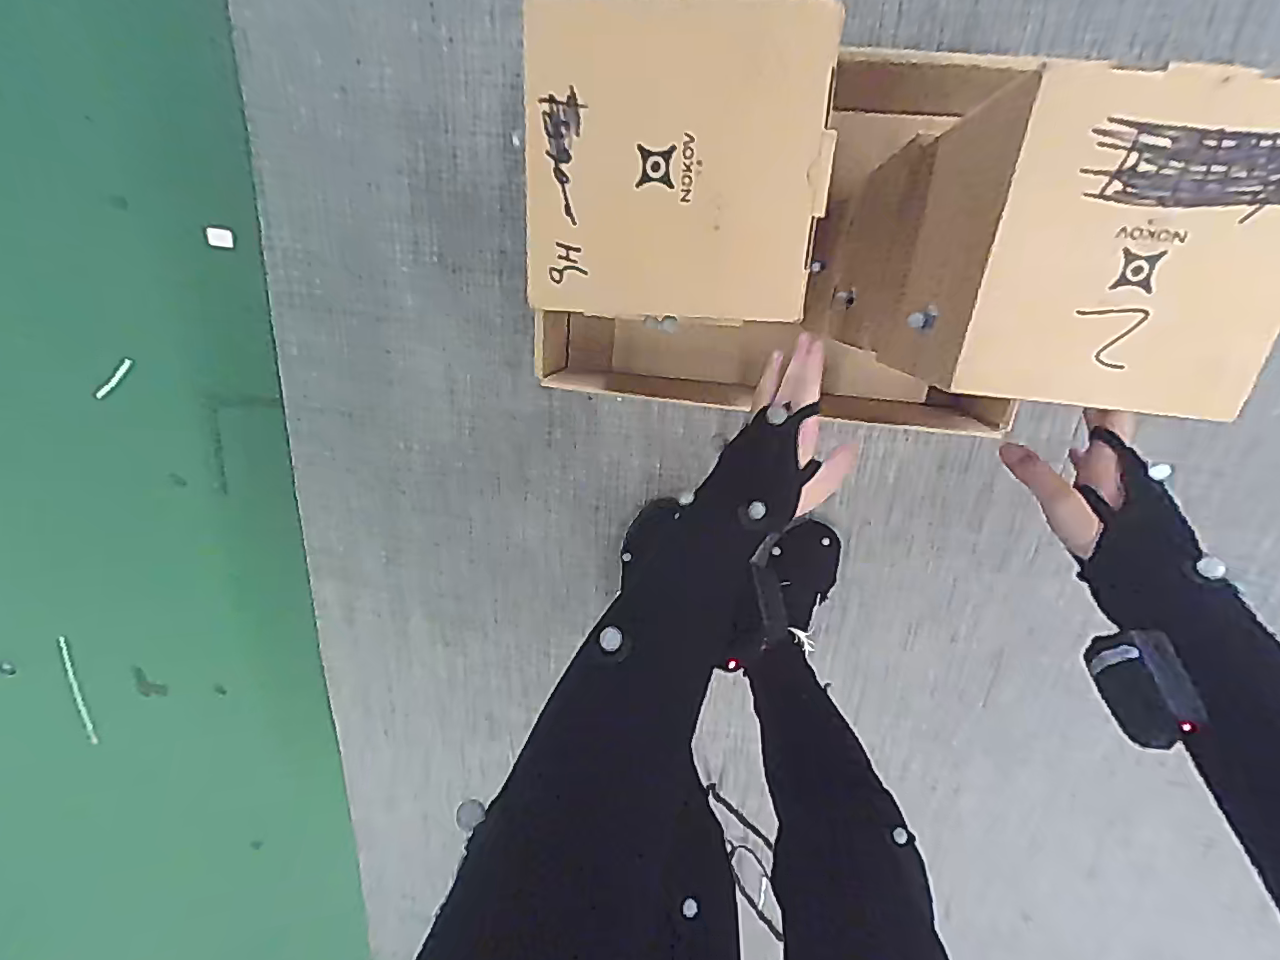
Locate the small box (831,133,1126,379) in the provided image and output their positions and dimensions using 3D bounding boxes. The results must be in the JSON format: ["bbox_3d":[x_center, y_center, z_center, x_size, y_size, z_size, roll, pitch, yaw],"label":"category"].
[{"bbox_3d":[0.299,-0.209,0.530,0.168,0.176,0.179,10,109,4],"label":"small box"}]

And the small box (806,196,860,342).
[{"bbox_3d":[0.325,-0.254,0.683,0.179,0.176,0.168,10,109,5],"label":"small box"}]

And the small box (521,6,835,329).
[{"bbox_3d":[0.022,-0.204,0.396,0.179,0.176,0.168,4,108,4],"label":"small box"}]
